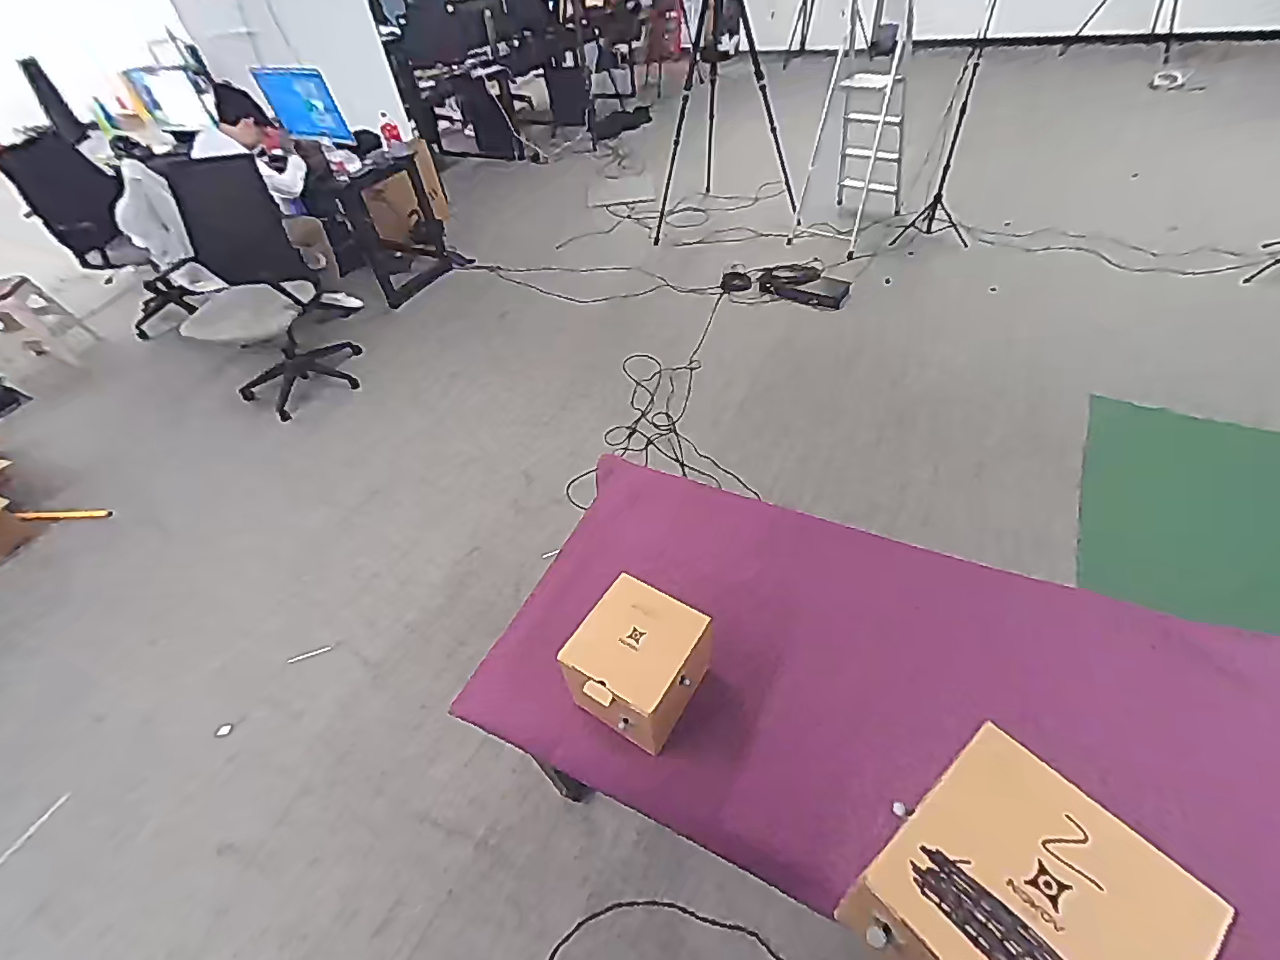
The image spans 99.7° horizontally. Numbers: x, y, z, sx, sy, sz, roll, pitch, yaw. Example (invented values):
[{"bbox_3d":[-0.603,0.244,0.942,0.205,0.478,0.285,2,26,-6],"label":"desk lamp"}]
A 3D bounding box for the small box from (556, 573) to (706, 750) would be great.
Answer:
[{"bbox_3d":[-0.005,0.290,0.860,0.168,0.176,0.179,24,52,26],"label":"small box"}]
